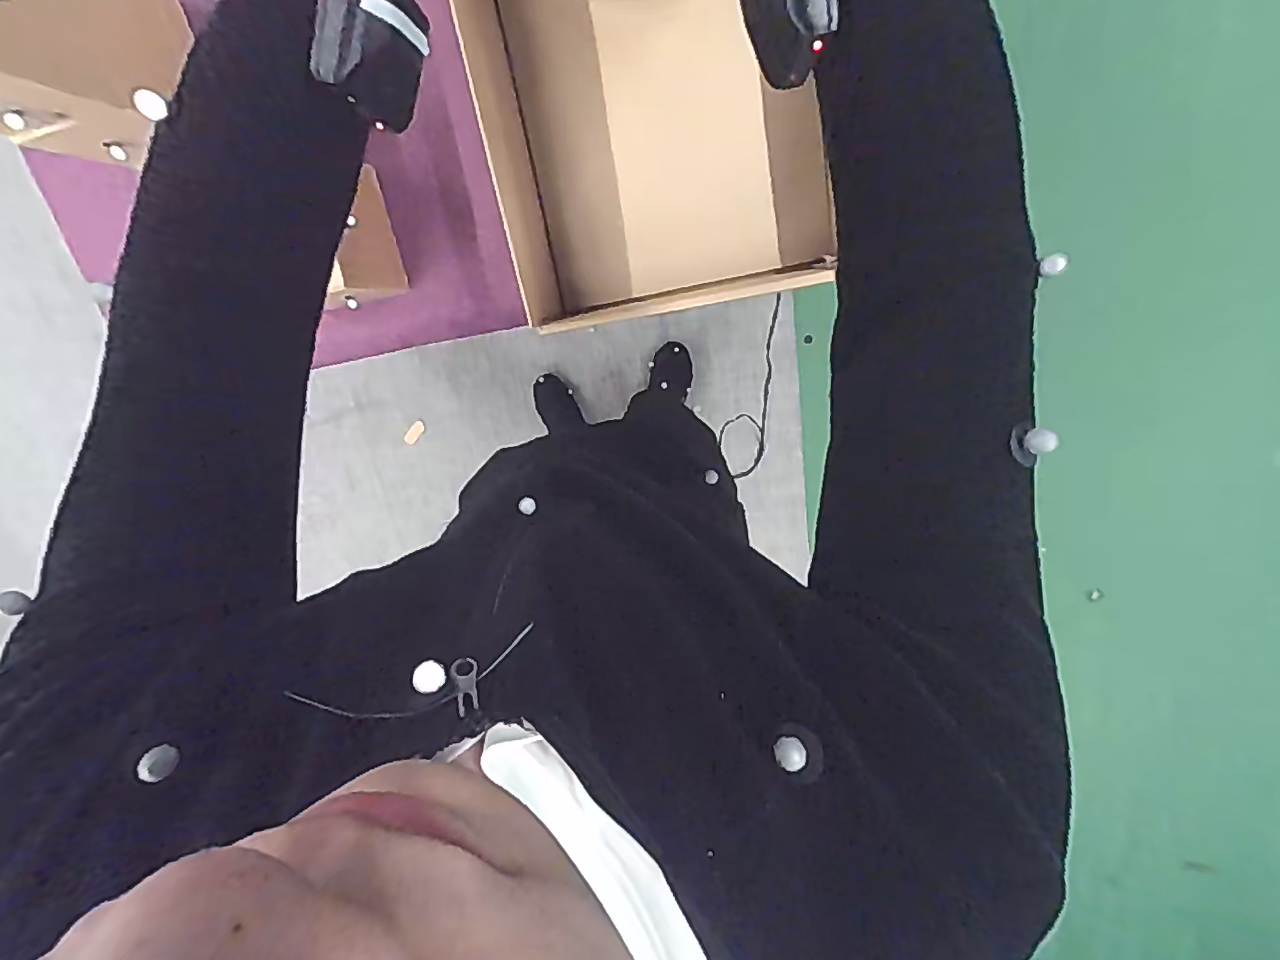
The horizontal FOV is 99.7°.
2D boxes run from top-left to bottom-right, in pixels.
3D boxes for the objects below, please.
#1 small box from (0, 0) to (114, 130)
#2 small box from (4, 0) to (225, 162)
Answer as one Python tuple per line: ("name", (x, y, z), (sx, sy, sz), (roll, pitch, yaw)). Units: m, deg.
("small box", (-0.699, -0.478, 0.533), (0.168, 0.176, 0.179), (-5, 109, 8))
("small box", (-0.689, -0.528, 0.689), (0.168, 0.176, 0.179), (-10, 107, 9))
